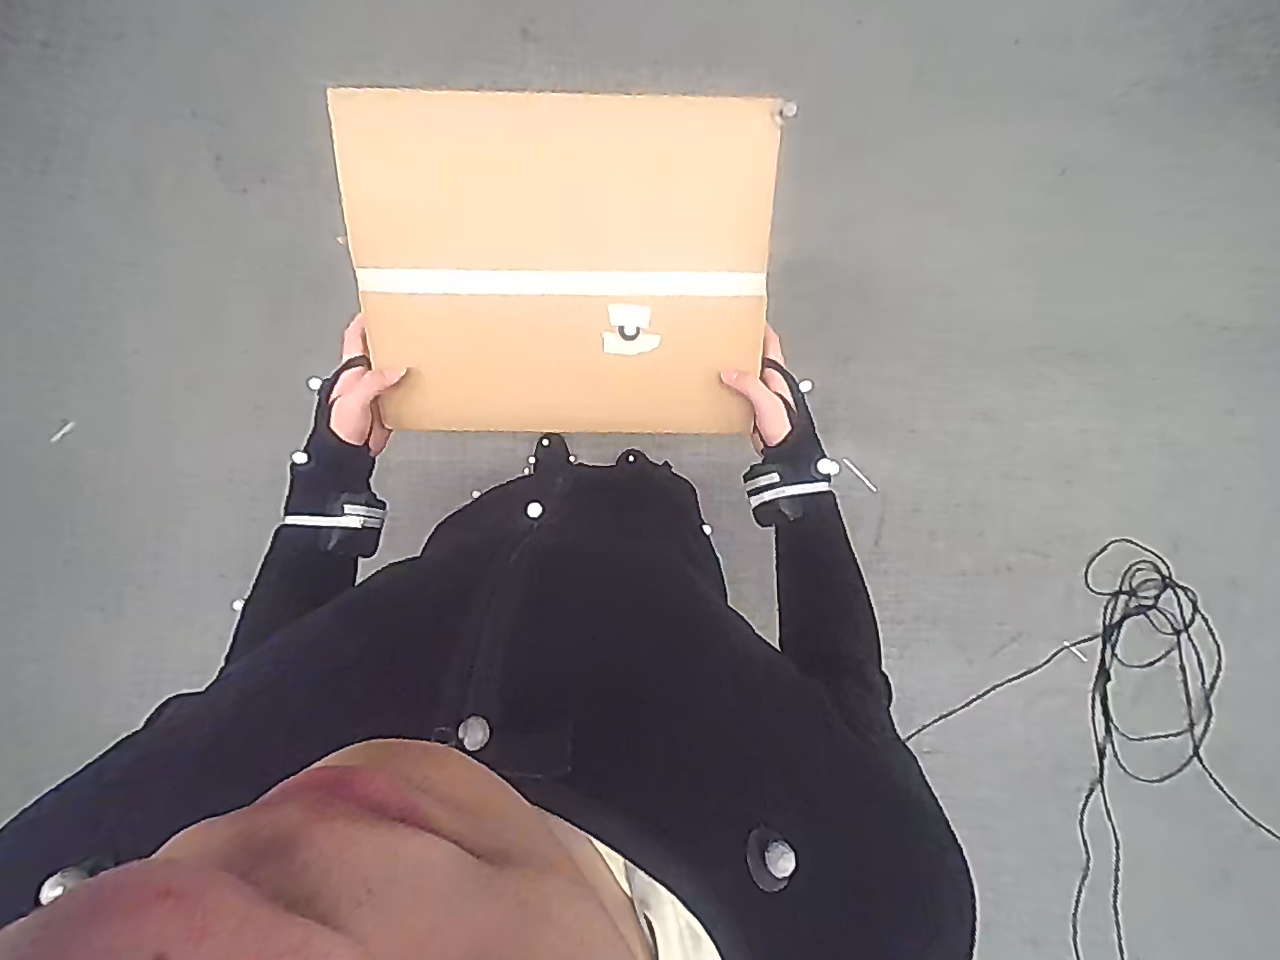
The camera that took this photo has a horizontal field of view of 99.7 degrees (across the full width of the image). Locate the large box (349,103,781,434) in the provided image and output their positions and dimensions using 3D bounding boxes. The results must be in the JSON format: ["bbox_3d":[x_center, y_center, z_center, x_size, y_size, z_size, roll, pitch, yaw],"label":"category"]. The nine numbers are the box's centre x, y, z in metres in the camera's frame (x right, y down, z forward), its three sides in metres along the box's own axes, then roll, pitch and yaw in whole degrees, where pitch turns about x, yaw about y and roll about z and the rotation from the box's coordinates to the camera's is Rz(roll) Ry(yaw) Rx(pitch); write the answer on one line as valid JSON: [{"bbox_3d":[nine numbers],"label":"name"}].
[{"bbox_3d":[-0.073,-0.250,0.685,0.408,0.320,0.320,0,112,-2],"label":"large box"}]
